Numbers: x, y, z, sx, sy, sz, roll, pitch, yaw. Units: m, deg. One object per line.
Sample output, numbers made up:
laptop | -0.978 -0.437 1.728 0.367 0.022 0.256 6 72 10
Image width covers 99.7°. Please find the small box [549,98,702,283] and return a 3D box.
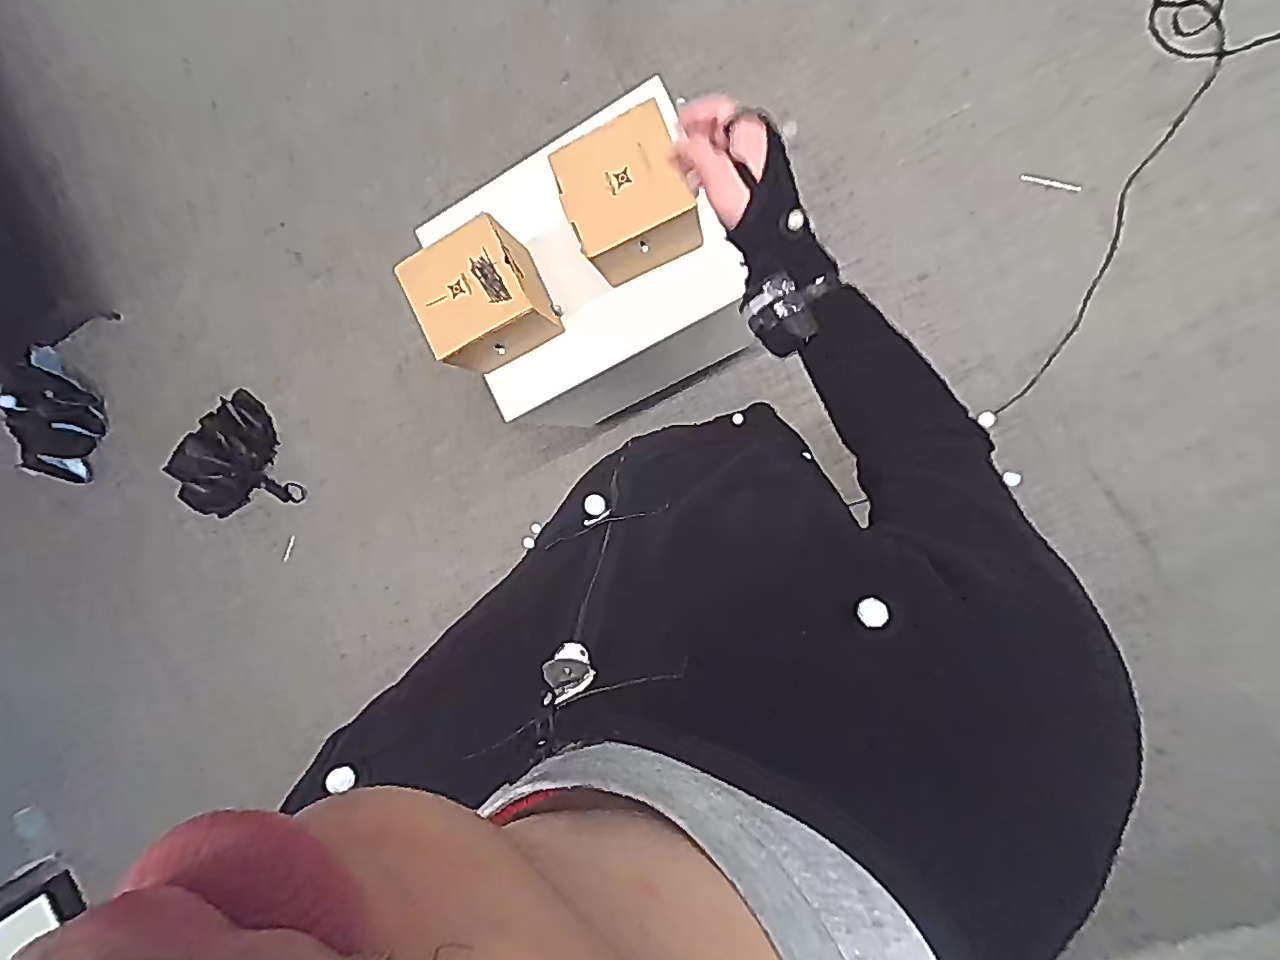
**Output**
small box | -0.013 -0.435 0.849 0.179 0.176 0.168 -21 92 11

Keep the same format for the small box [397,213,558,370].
small box | -0.255 -0.300 0.902 0.179 0.176 0.168 -25 89 12
